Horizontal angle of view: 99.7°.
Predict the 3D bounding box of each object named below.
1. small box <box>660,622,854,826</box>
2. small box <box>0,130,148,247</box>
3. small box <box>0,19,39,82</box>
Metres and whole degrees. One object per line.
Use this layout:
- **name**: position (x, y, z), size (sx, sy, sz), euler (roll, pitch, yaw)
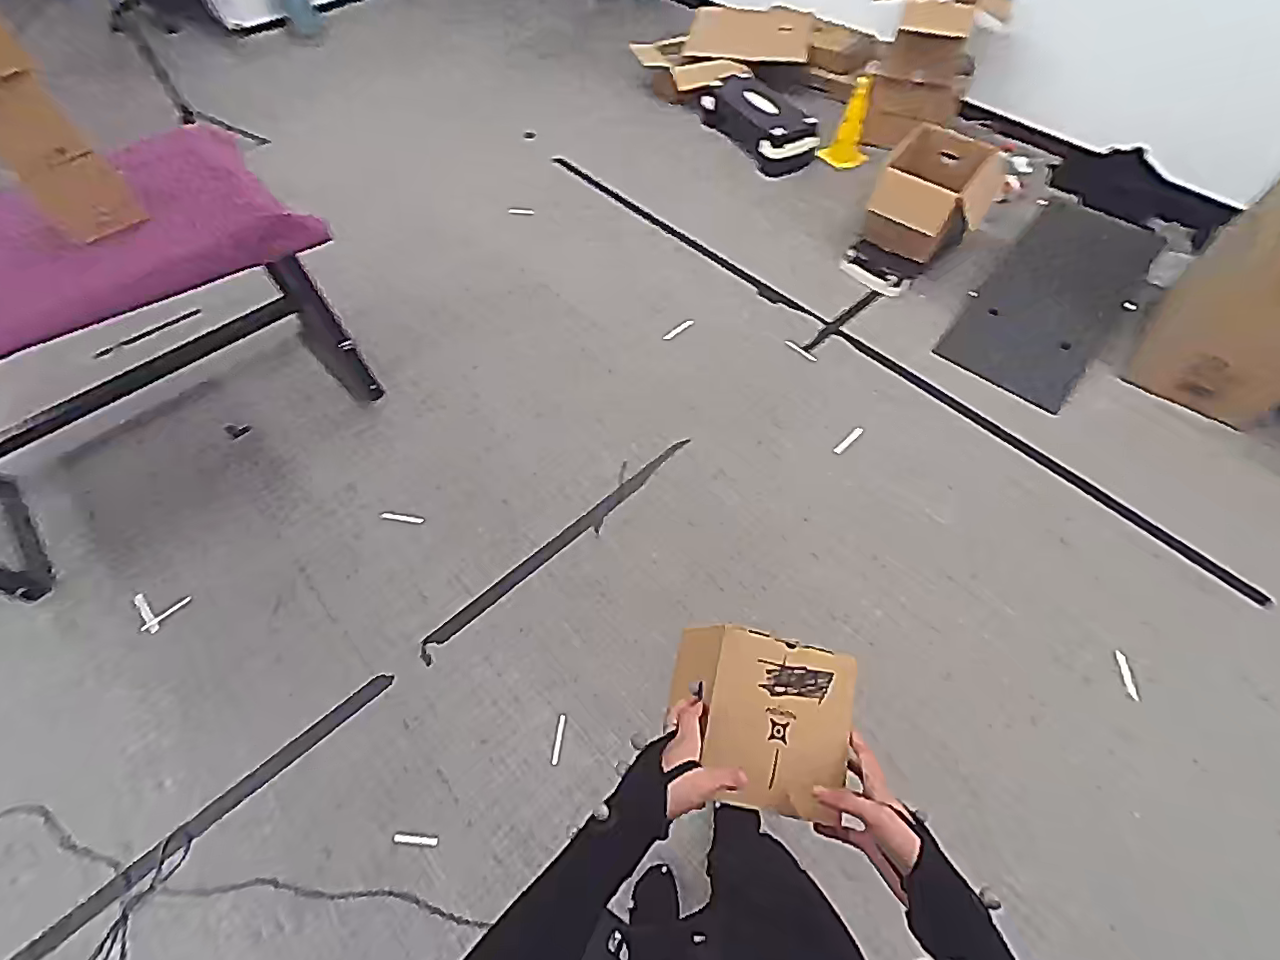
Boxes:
- **small box**: position (0.132, 0.279, 0.649), size (0.168, 0.176, 0.179), euler (15, 71, -7)
- **small box**: position (-1.364, -0.708, 1.320), size (0.168, 0.176, 0.179), euler (39, 66, 22)
- **small box**: position (-1.345, -0.874, 1.037), size (0.168, 0.176, 0.179), euler (36, 65, 20)
